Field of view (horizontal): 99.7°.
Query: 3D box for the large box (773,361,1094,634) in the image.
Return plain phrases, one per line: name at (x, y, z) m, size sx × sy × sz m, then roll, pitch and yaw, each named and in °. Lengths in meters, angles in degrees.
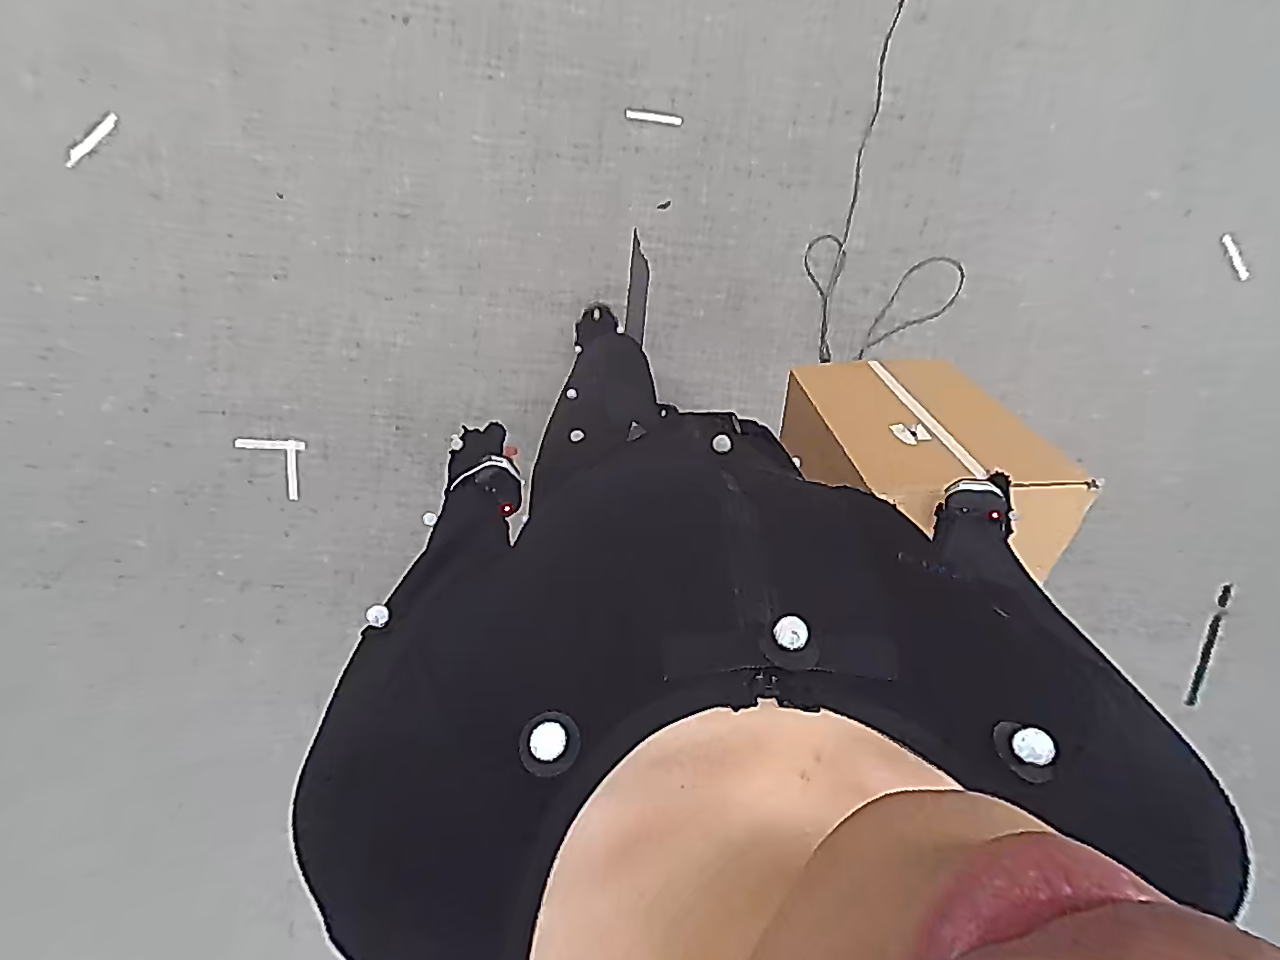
large box at (0.460, 0.015, 0.981) m, size 0.320 × 0.408 × 0.320 m, roll -4°, pitch 128°, yaw -2°
